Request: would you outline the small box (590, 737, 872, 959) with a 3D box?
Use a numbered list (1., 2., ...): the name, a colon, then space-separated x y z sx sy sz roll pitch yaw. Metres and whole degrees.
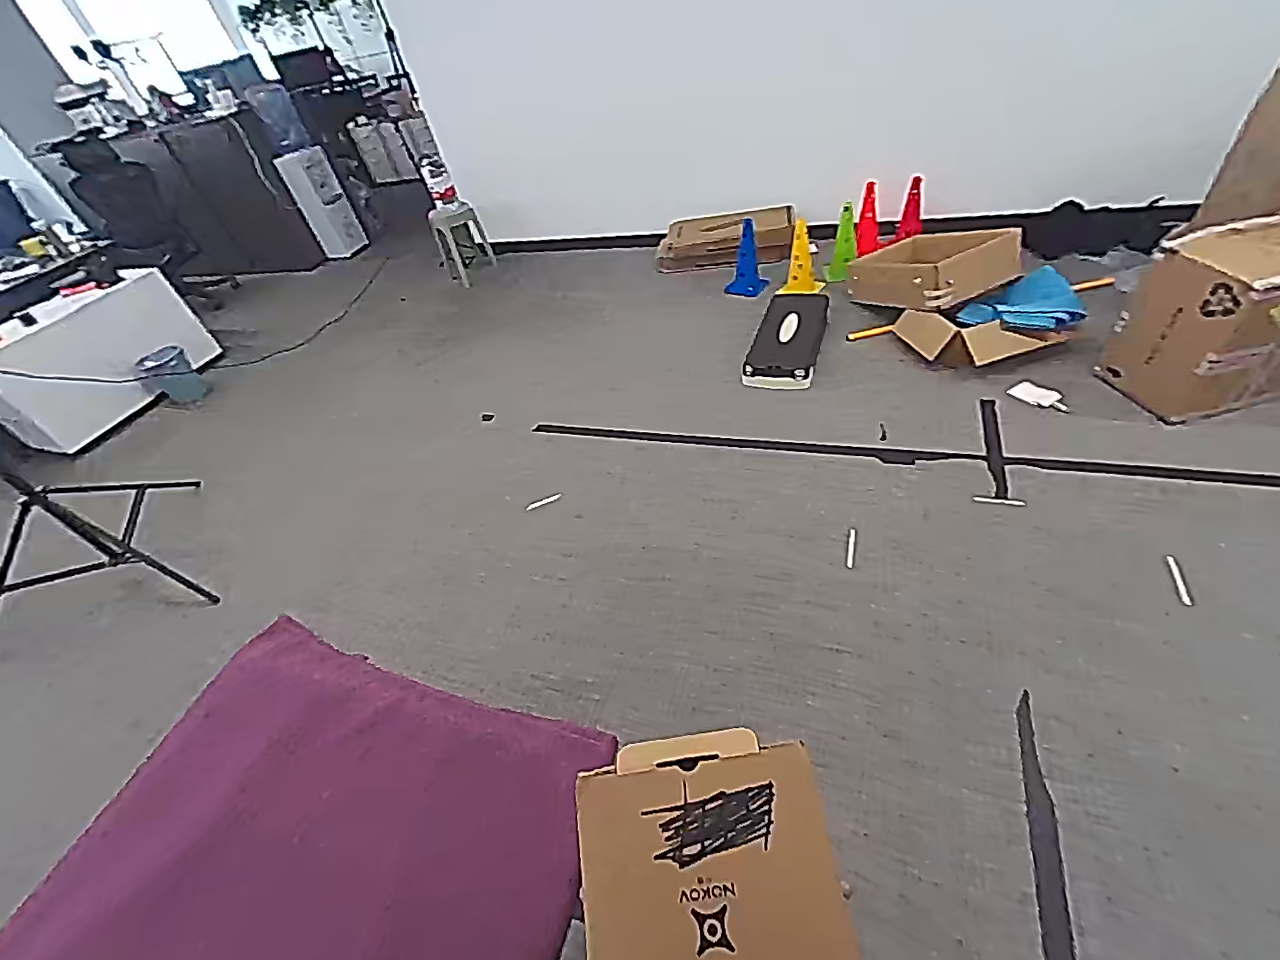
1. small box: 0.065 0.306 0.406 0.168 0.176 0.179 -11 60 5
